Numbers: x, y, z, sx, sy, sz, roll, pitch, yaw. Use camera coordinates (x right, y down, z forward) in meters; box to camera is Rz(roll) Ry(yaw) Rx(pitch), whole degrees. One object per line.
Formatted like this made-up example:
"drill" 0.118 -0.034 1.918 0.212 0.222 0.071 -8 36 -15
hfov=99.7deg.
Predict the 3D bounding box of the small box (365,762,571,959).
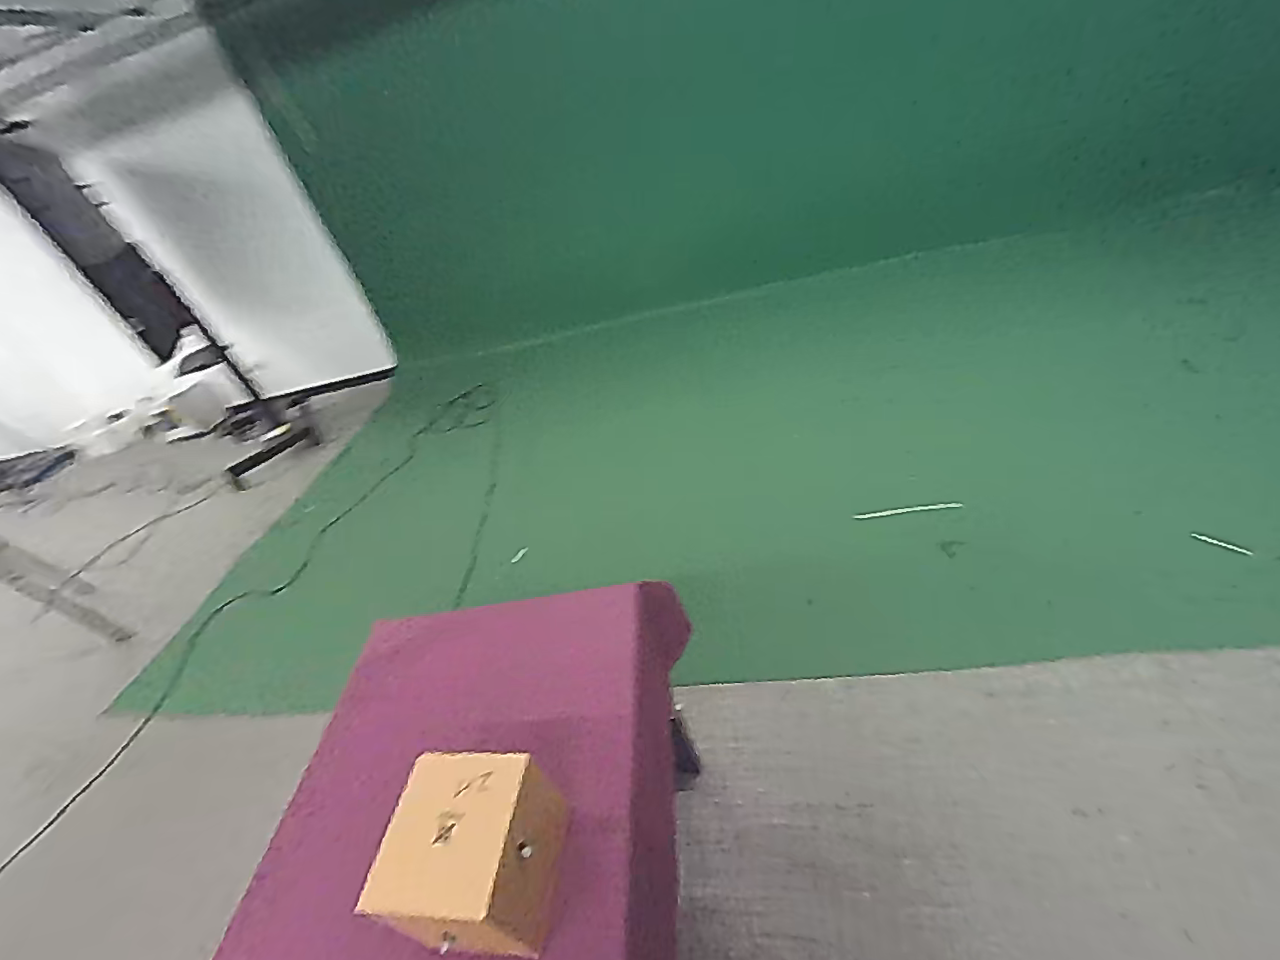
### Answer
"small box" -0.204 0.493 0.703 0.168 0.176 0.179 -8 37 15
